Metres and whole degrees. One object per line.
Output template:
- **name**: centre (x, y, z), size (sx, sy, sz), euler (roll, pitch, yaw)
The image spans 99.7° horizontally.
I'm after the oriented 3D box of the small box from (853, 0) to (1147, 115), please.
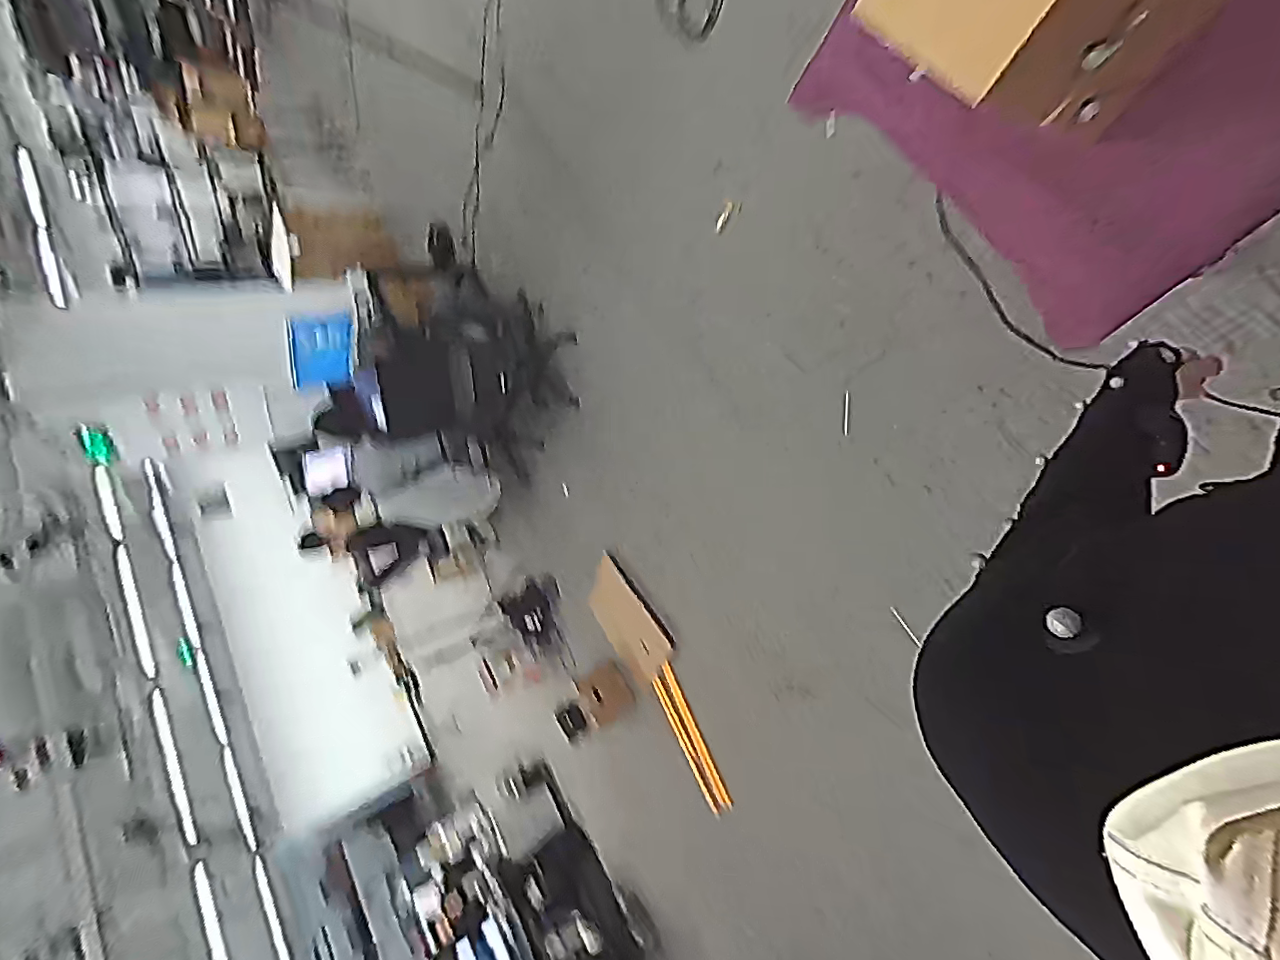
- **small box**: centre (0.346, -0.471, 0.499), size (0.179, 0.176, 0.168), euler (56, 142, 20)
